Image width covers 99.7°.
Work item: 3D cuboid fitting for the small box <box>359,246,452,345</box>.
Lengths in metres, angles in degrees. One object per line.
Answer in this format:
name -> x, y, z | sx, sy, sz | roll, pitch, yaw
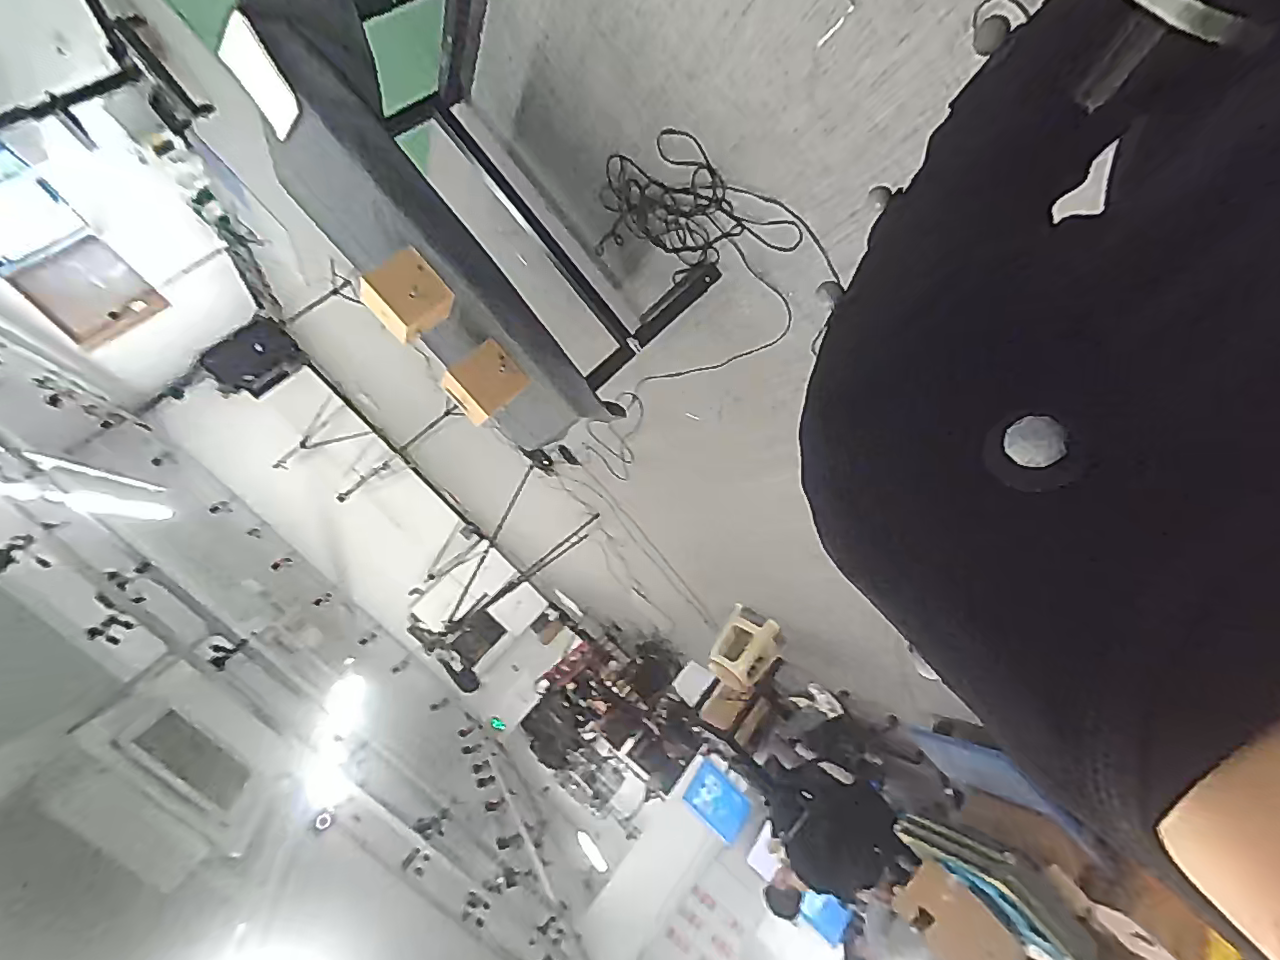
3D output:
small box -> -0.647, -0.511, 1.498 | 0.168, 0.176, 0.179 | 49, 158, -15
